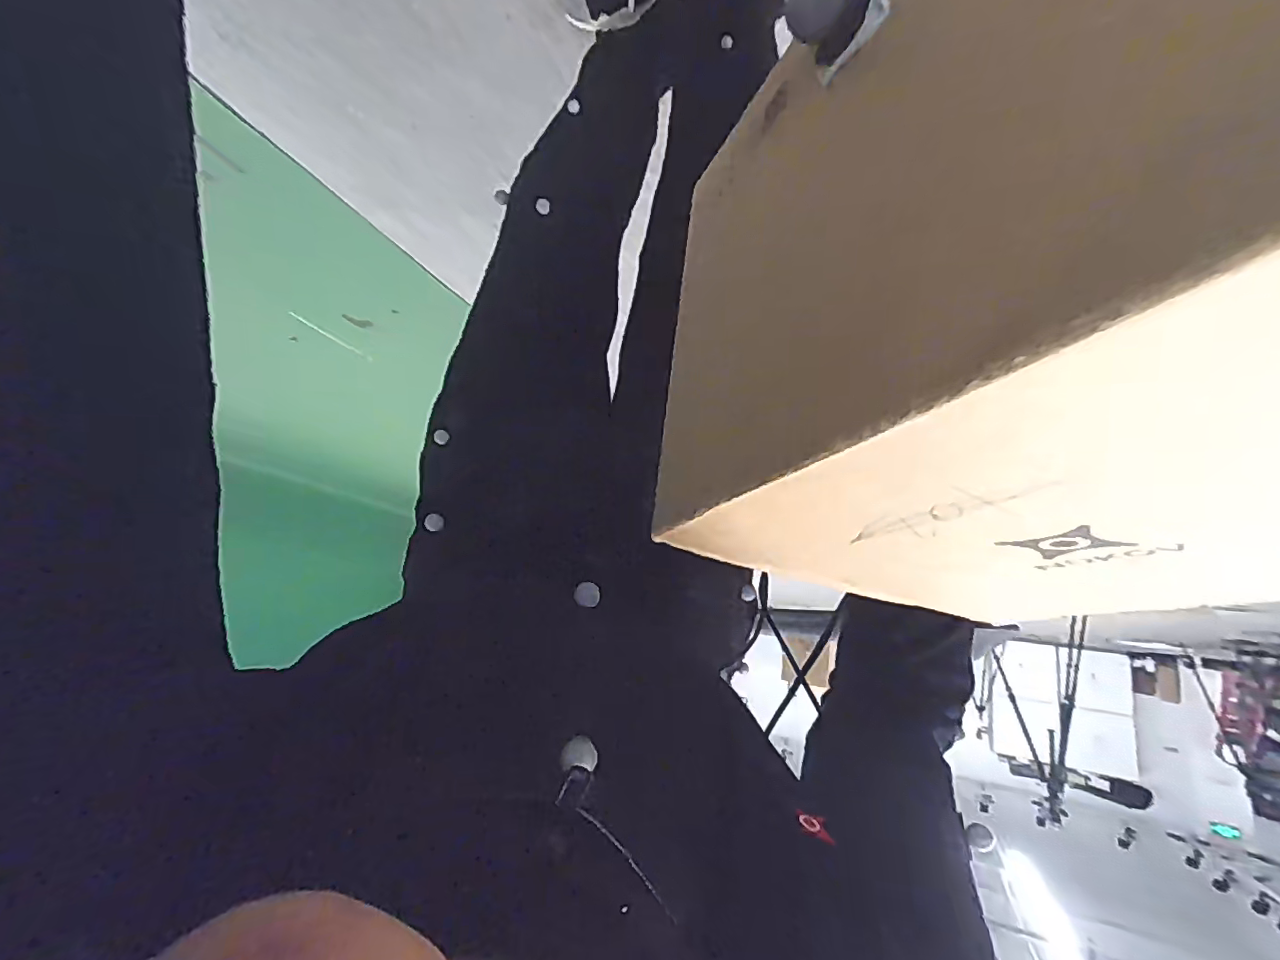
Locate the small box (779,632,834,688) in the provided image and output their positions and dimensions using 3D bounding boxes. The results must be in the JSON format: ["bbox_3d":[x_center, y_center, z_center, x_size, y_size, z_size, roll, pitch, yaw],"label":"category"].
[{"bbox_3d":[0.621,0.665,2.005,0.168,0.176,0.179,0,162,27],"label":"small box"}]
